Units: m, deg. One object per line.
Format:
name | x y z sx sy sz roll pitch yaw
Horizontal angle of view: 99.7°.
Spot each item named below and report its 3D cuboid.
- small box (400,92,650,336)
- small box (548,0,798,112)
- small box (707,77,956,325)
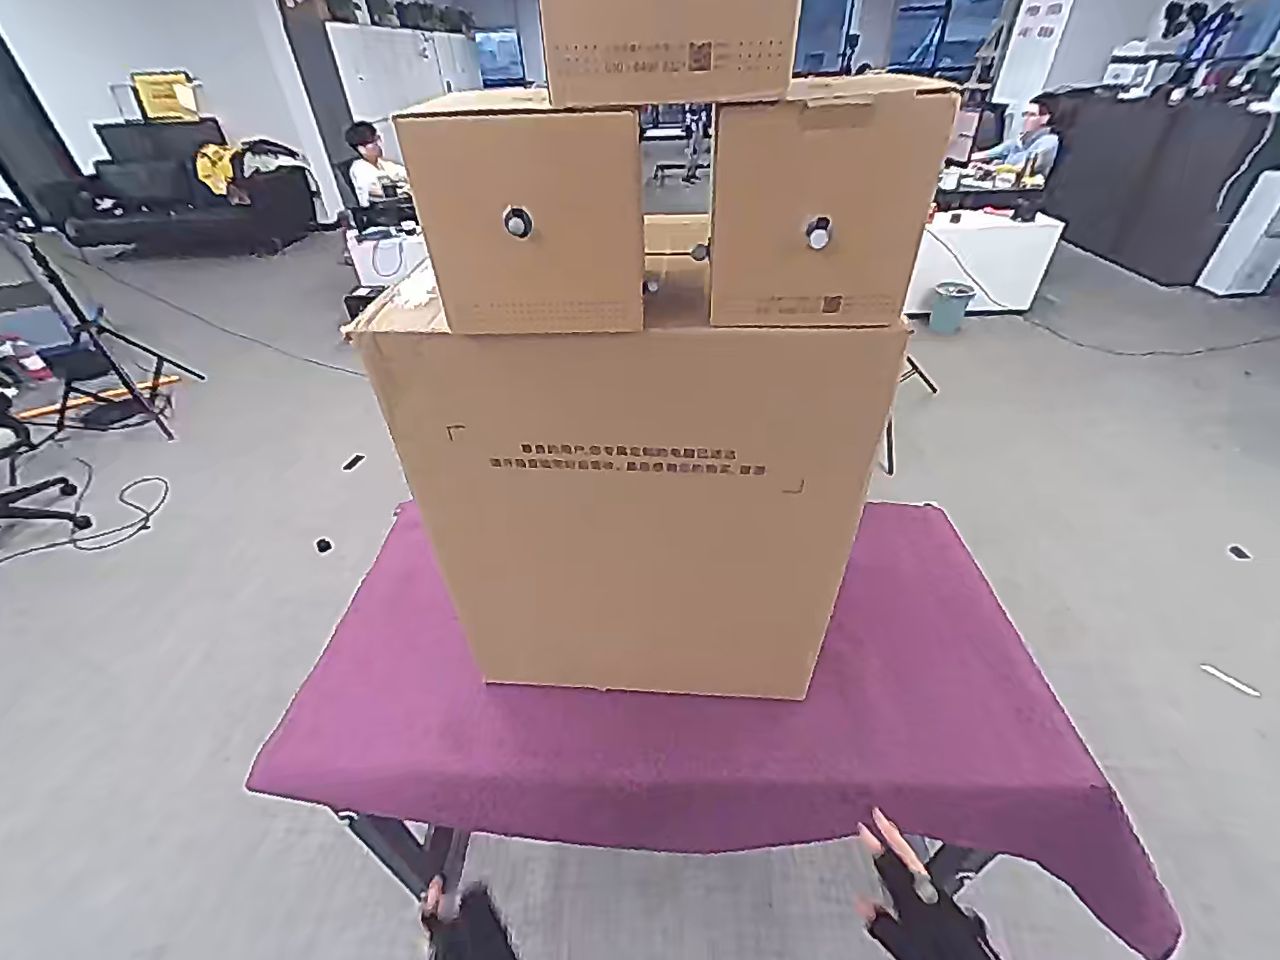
small box | -0.080 -0.243 0.494 0.179 0.176 0.168 -1 39 3
small box | 0.025 -0.374 0.393 0.168 0.176 0.179 2 38 4
small box | 0.149 -0.252 0.492 0.168 0.176 0.179 2 40 5
